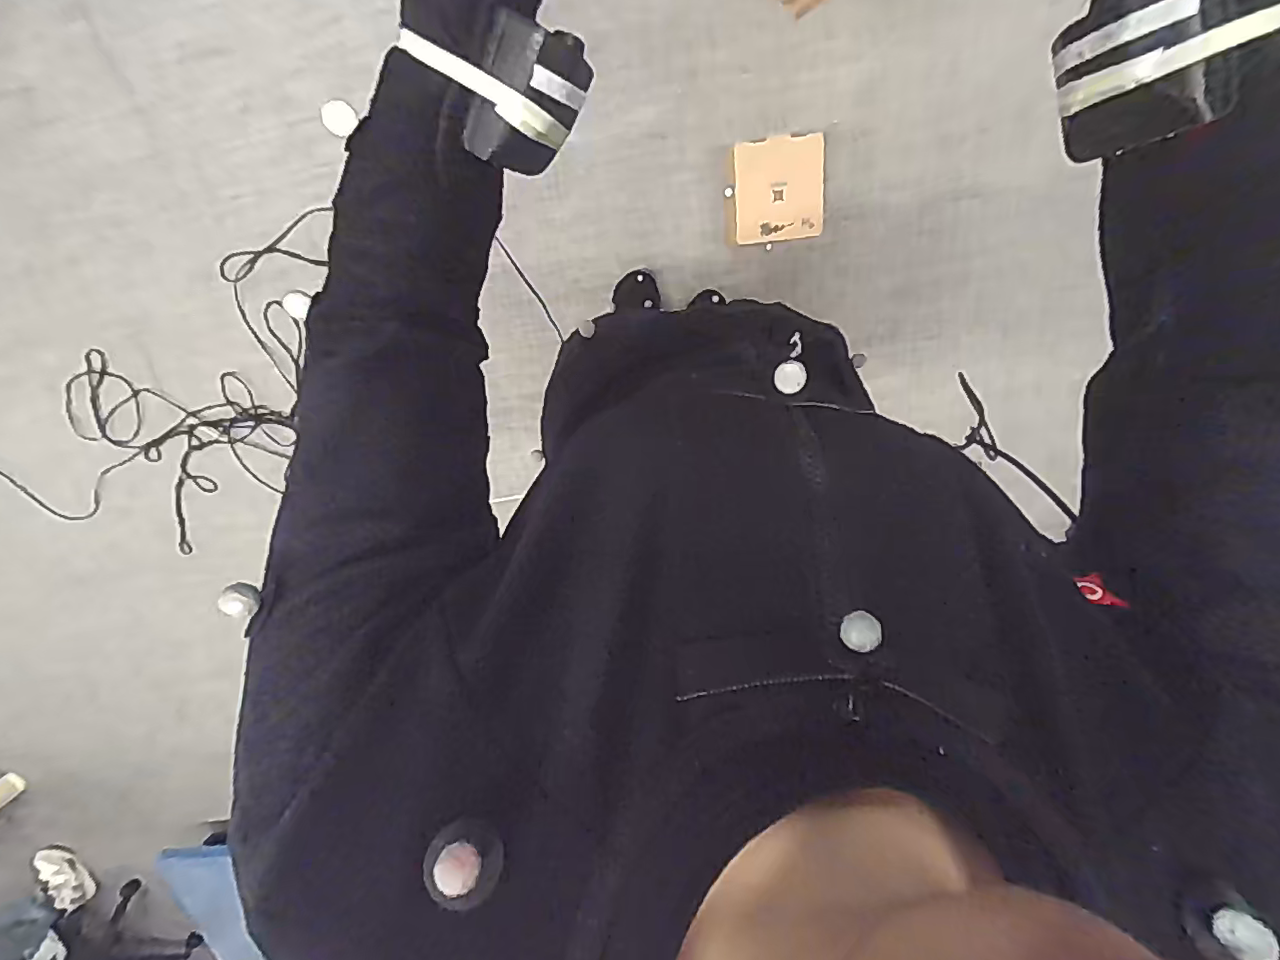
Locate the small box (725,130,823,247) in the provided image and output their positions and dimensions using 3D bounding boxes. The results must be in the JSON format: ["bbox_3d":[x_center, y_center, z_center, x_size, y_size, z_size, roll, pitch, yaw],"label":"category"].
[{"bbox_3d":[0.263,-0.576,1.090,0.168,0.176,0.179,-5,110,5],"label":"small box"}]
